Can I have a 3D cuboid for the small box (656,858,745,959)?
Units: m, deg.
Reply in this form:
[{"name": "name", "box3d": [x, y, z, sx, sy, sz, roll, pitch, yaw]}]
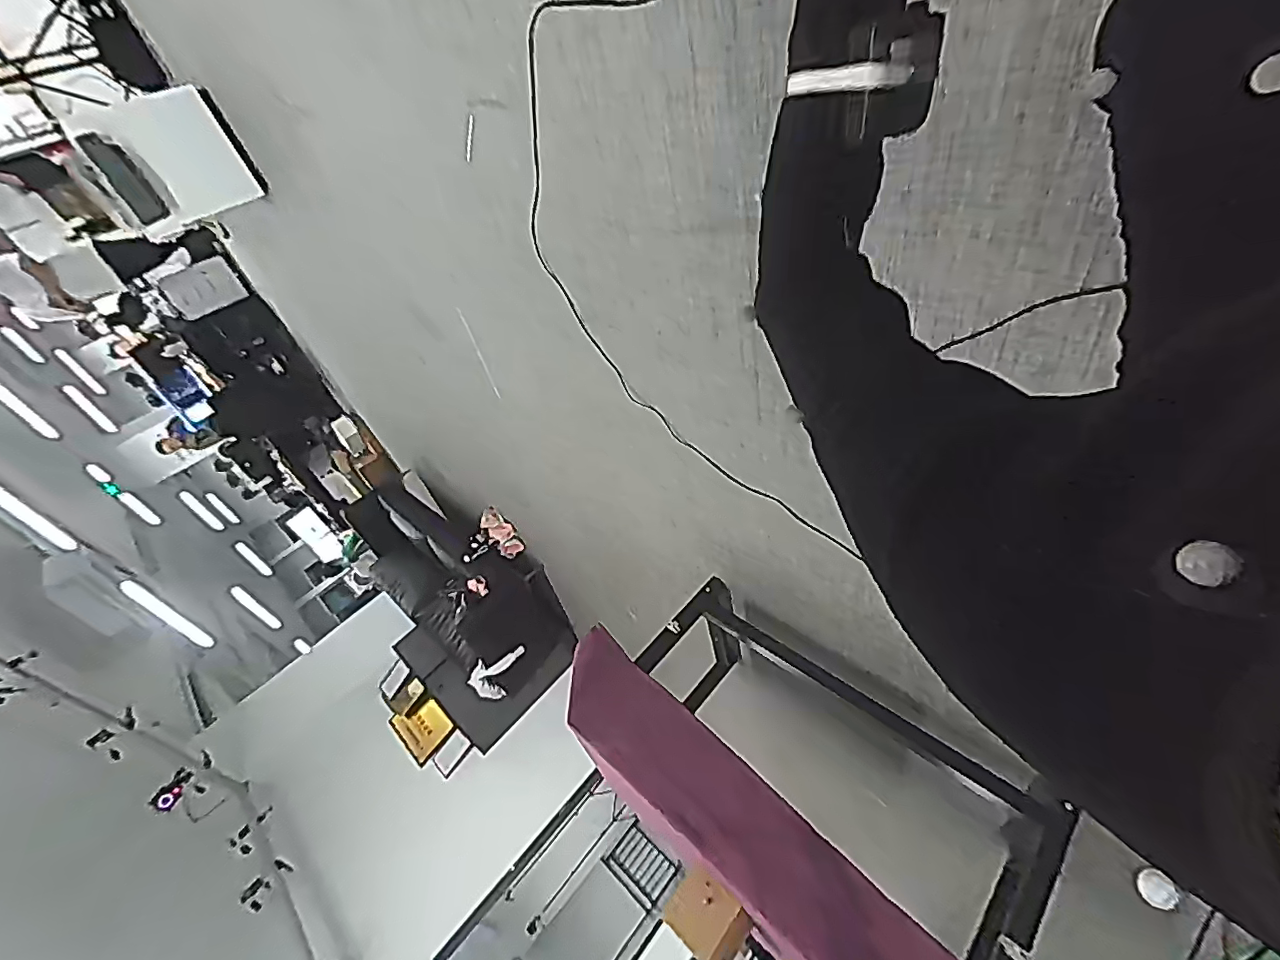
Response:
[{"name": "small box", "box3d": [0.179, 1.233, 1.538, 0.168, 0.176, 0.179, 20, 141, 43]}]
